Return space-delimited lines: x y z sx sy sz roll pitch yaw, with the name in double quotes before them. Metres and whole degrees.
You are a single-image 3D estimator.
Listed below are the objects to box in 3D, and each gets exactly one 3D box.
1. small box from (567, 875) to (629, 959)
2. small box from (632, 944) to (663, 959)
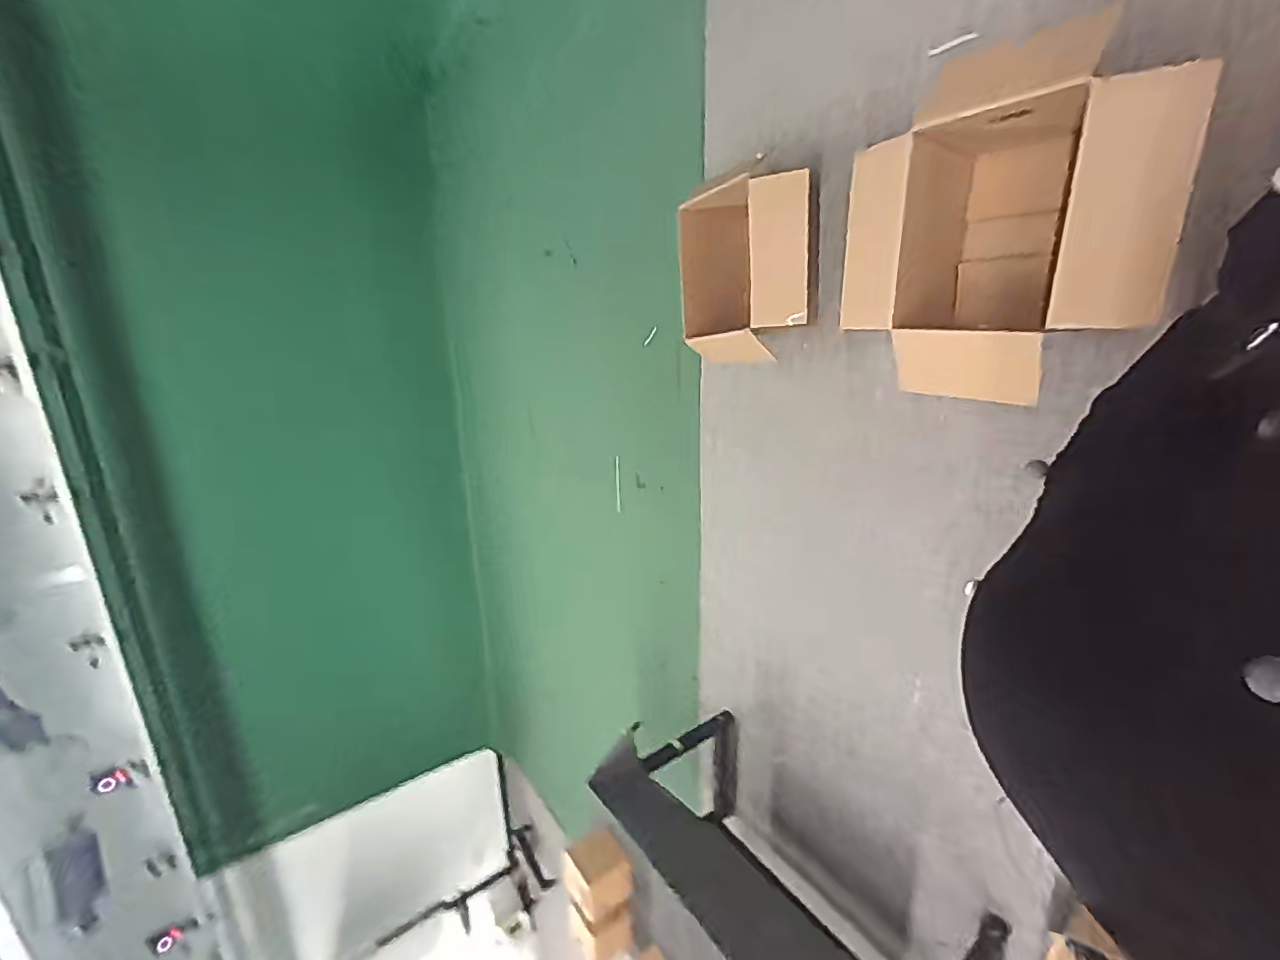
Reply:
"small box" -0.151 1.609 1.973 0.168 0.176 0.179 23 117 50
"small box" 0.022 1.677 1.751 0.168 0.176 0.179 23 119 50
